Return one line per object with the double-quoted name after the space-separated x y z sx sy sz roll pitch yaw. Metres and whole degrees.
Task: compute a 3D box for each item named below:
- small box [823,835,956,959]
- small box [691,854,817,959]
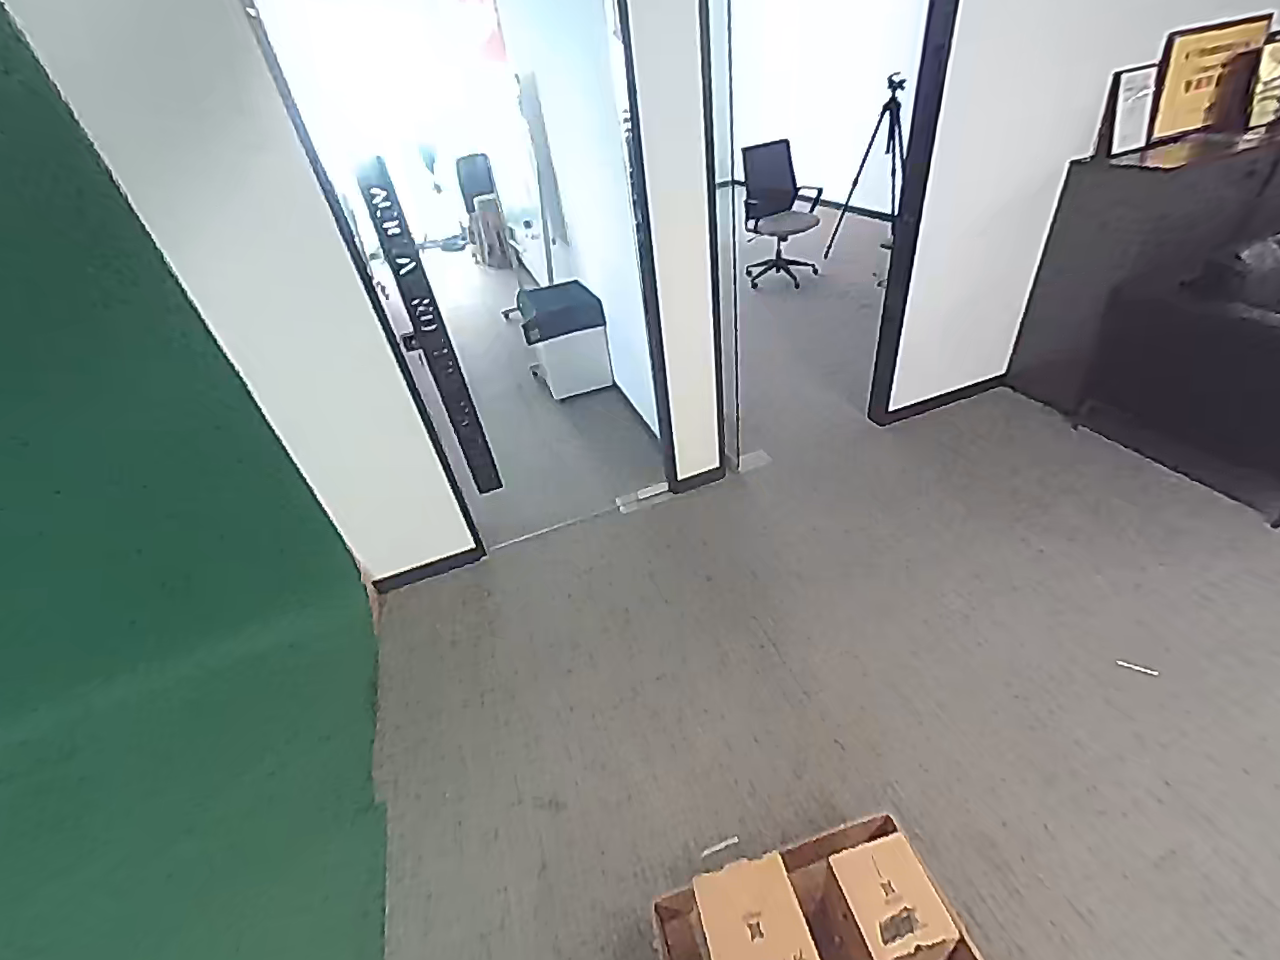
0.477 0.846 1.060 0.168 0.176 0.179 -15 36 -6 "small box"
0.189 0.788 0.921 0.168 0.176 0.179 -12 35 -6 "small box"
